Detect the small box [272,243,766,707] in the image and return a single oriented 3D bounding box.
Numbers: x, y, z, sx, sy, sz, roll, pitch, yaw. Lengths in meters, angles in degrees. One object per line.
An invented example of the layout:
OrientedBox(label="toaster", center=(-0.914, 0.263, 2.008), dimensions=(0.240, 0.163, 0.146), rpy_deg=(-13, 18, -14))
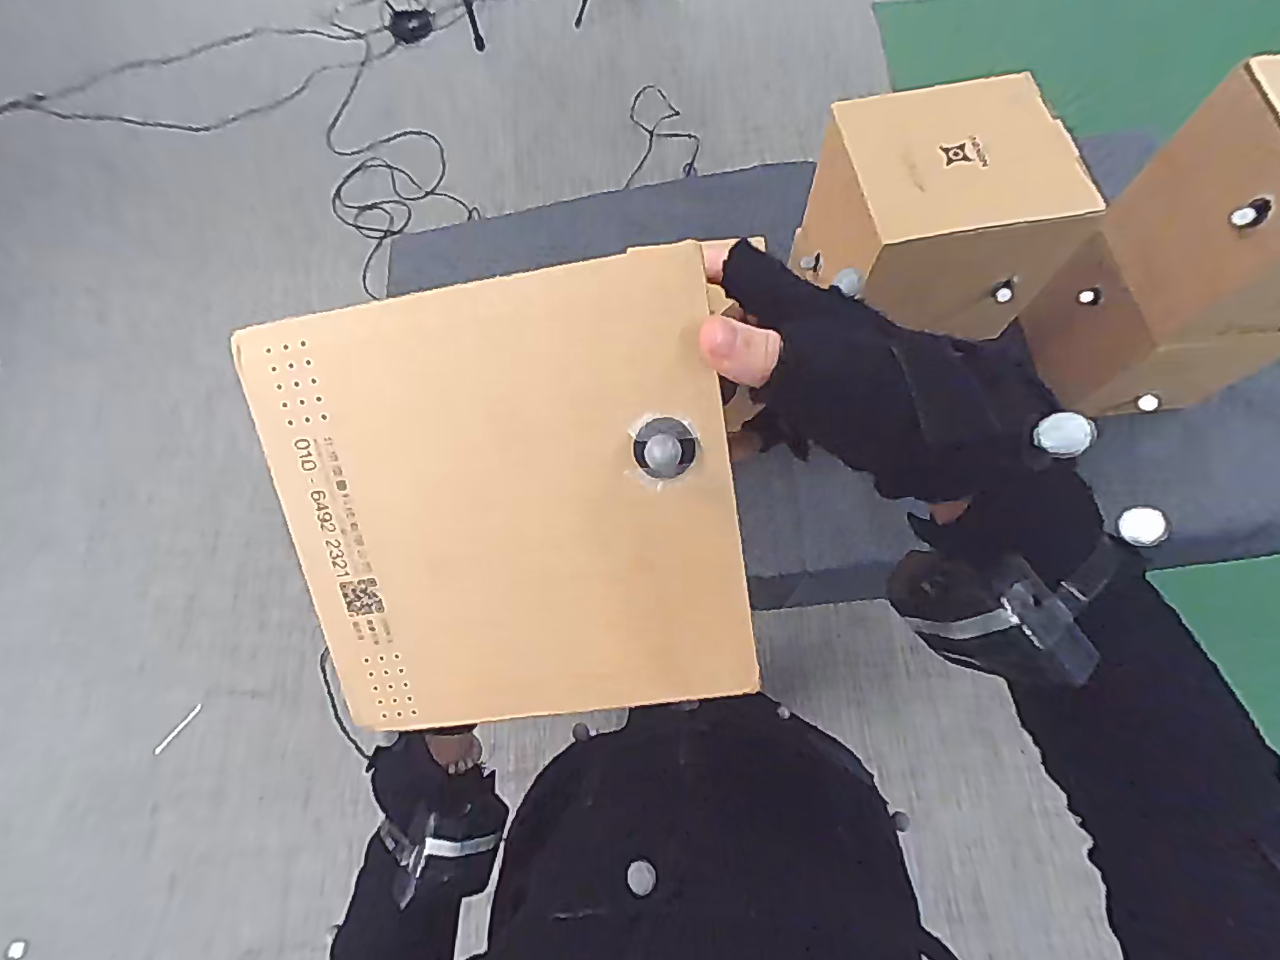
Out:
OrientedBox(label="small box", center=(-0.040, -0.008, 0.284), dimensions=(0.176, 0.179, 0.168), rpy_deg=(-9, 102, 5))

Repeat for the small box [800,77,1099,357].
OrientedBox(label="small box", center=(0.273, -0.241, 0.527), dimensions=(0.179, 0.176, 0.168), rpy_deg=(-8, 69, 3))

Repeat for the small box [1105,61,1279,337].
OrientedBox(label="small box", center=(0.592, -0.247, 0.498), dimensions=(0.168, 0.176, 0.179), rpy_deg=(-3, 70, 4))
